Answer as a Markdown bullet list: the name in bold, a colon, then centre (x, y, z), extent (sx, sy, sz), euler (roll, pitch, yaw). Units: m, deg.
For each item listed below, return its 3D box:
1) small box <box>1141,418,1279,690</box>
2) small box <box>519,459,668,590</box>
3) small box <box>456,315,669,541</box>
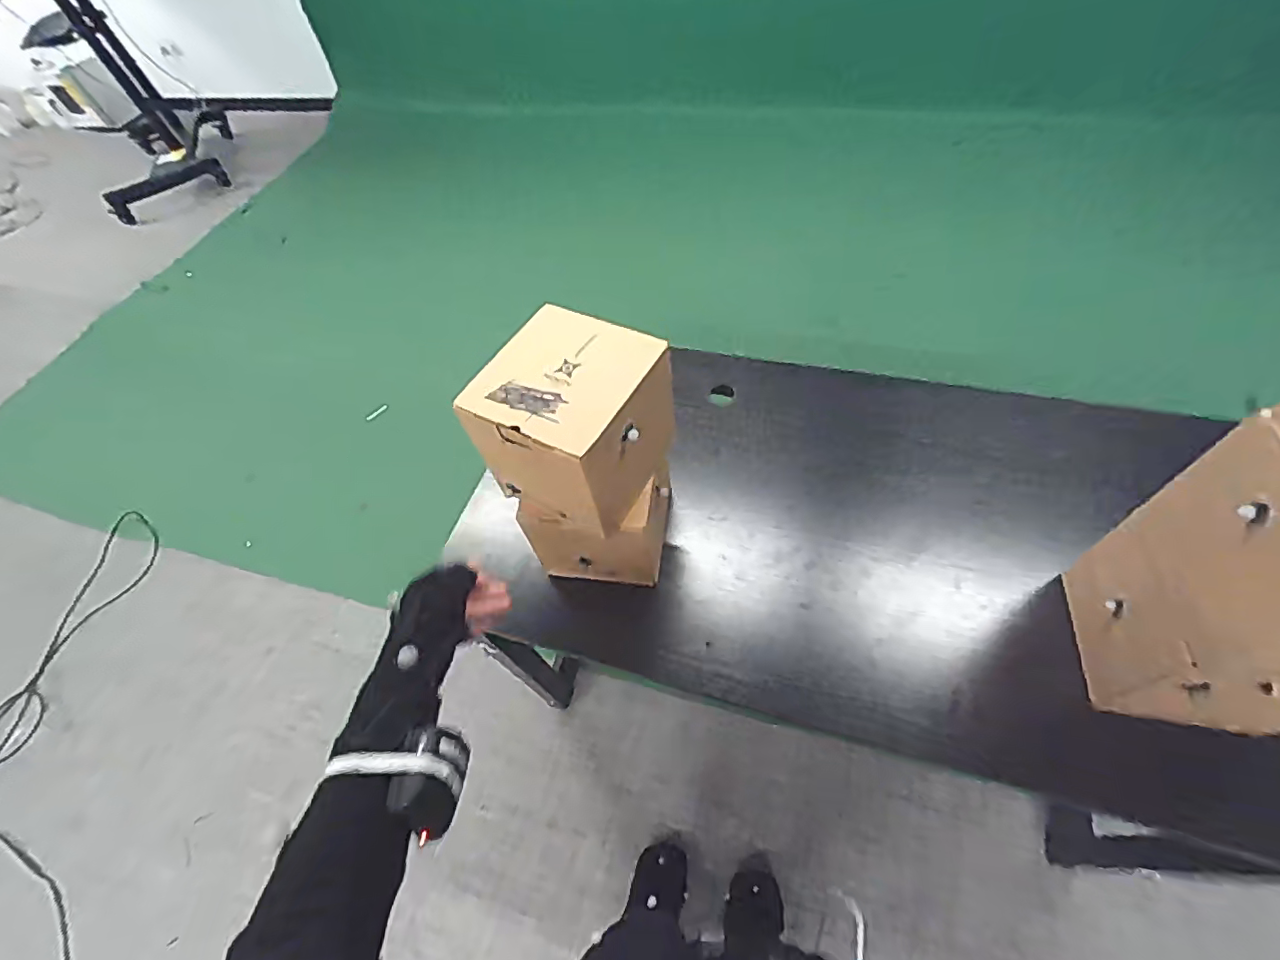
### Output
- **small box**: centre (0.587, 0.071, 0.457), extent (0.168, 0.176, 0.179), euler (4, 56, 11)
- **small box**: centre (-0.052, 0.037, 0.769), extent (0.168, 0.176, 0.179), euler (4, 57, 10)
- **small box**: centre (-0.073, -0.057, 0.635), extent (0.168, 0.176, 0.179), euler (23, 61, 21)
